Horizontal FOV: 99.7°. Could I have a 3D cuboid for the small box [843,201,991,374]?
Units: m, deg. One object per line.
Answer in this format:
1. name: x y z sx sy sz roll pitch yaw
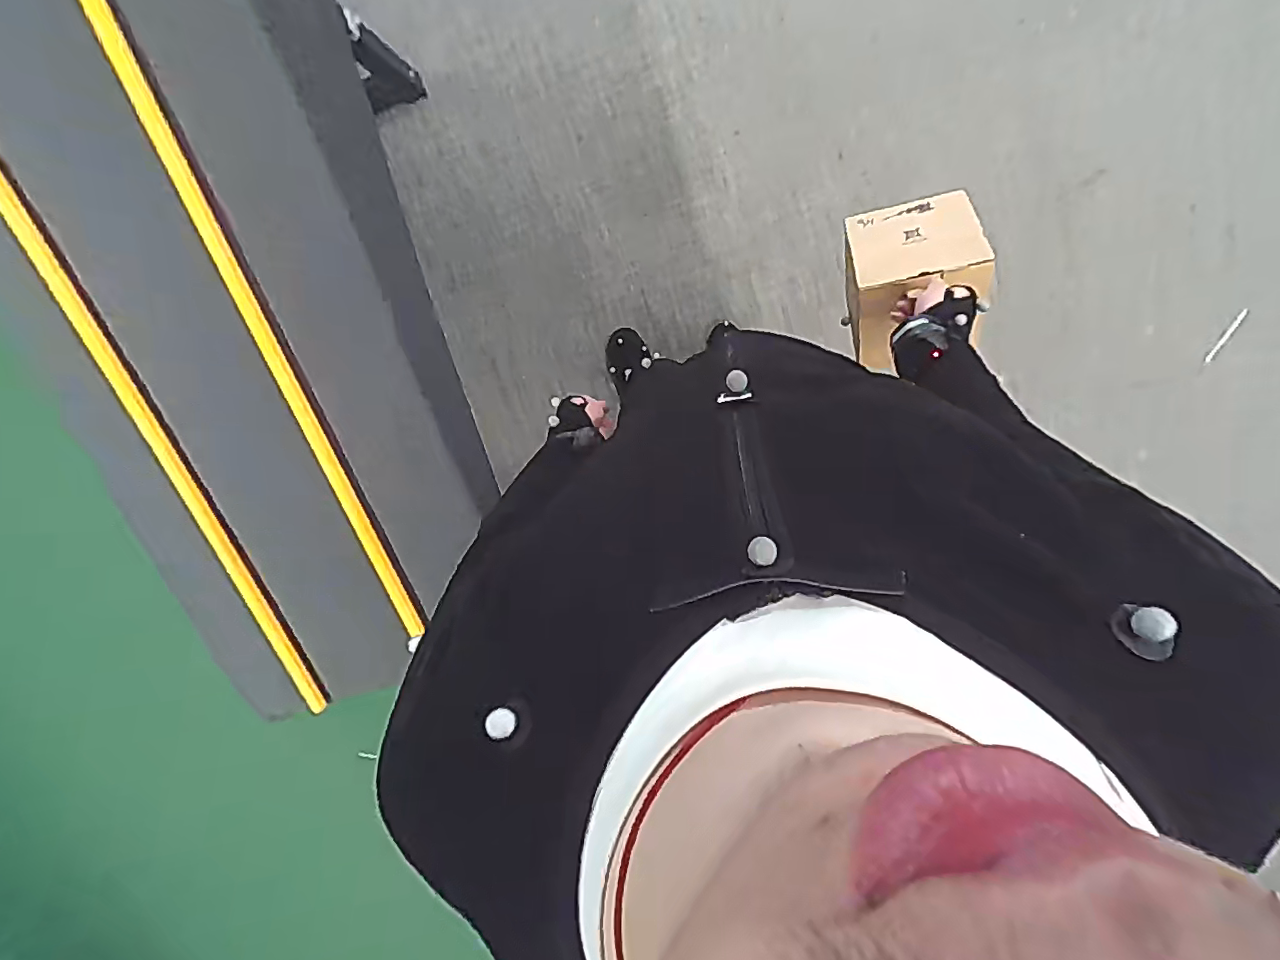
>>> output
1. small box: 0.415 -0.282 0.830 0.168 0.179 0.176 -9 142 19
